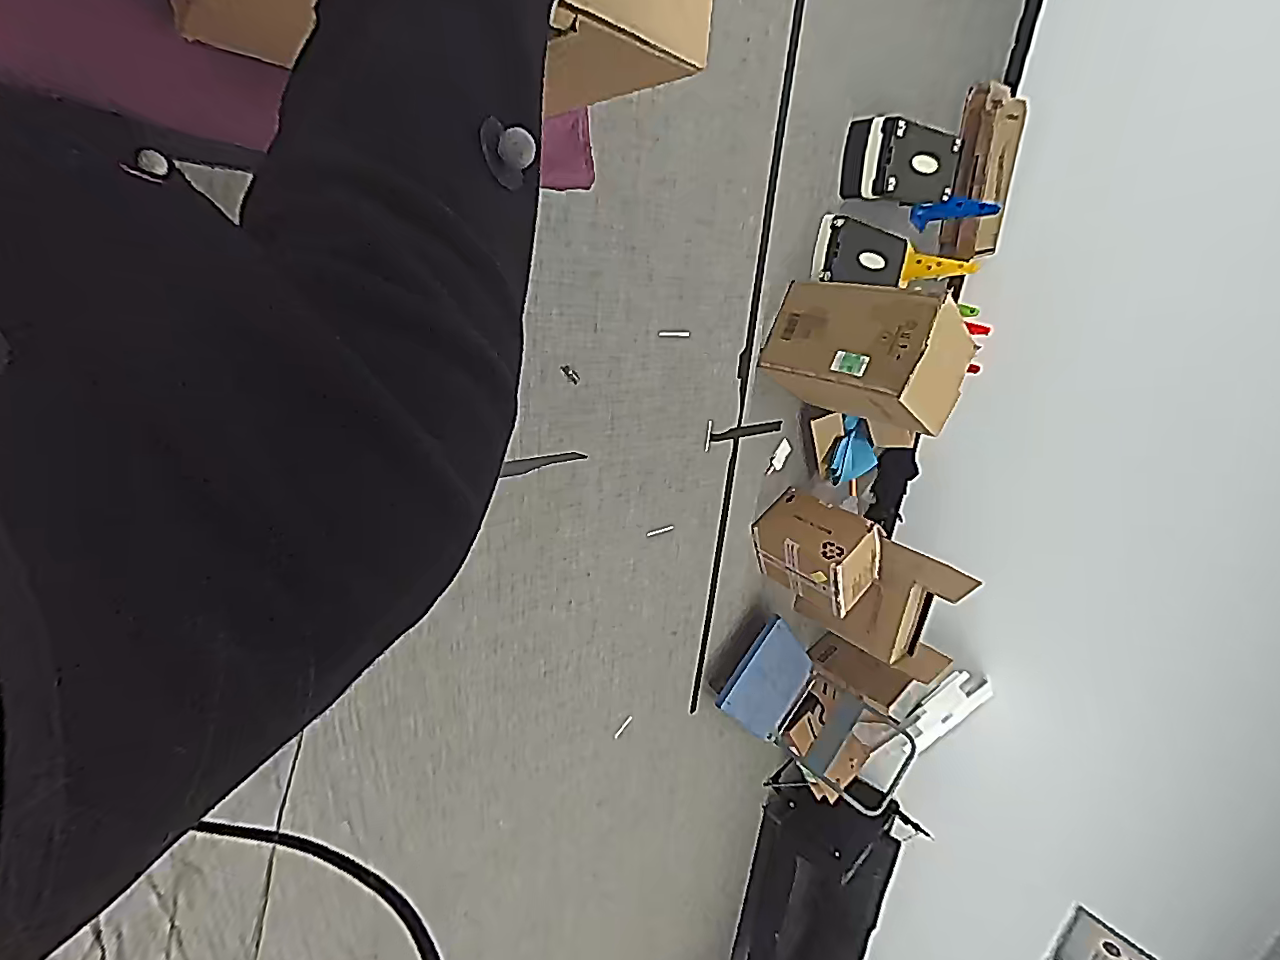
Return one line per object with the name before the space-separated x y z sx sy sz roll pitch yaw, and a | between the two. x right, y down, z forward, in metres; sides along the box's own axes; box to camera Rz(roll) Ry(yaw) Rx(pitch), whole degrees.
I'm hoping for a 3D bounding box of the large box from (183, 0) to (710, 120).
large box | -0.150 -0.530 0.370 0.320 0.320 0.408 -15 117 -41
